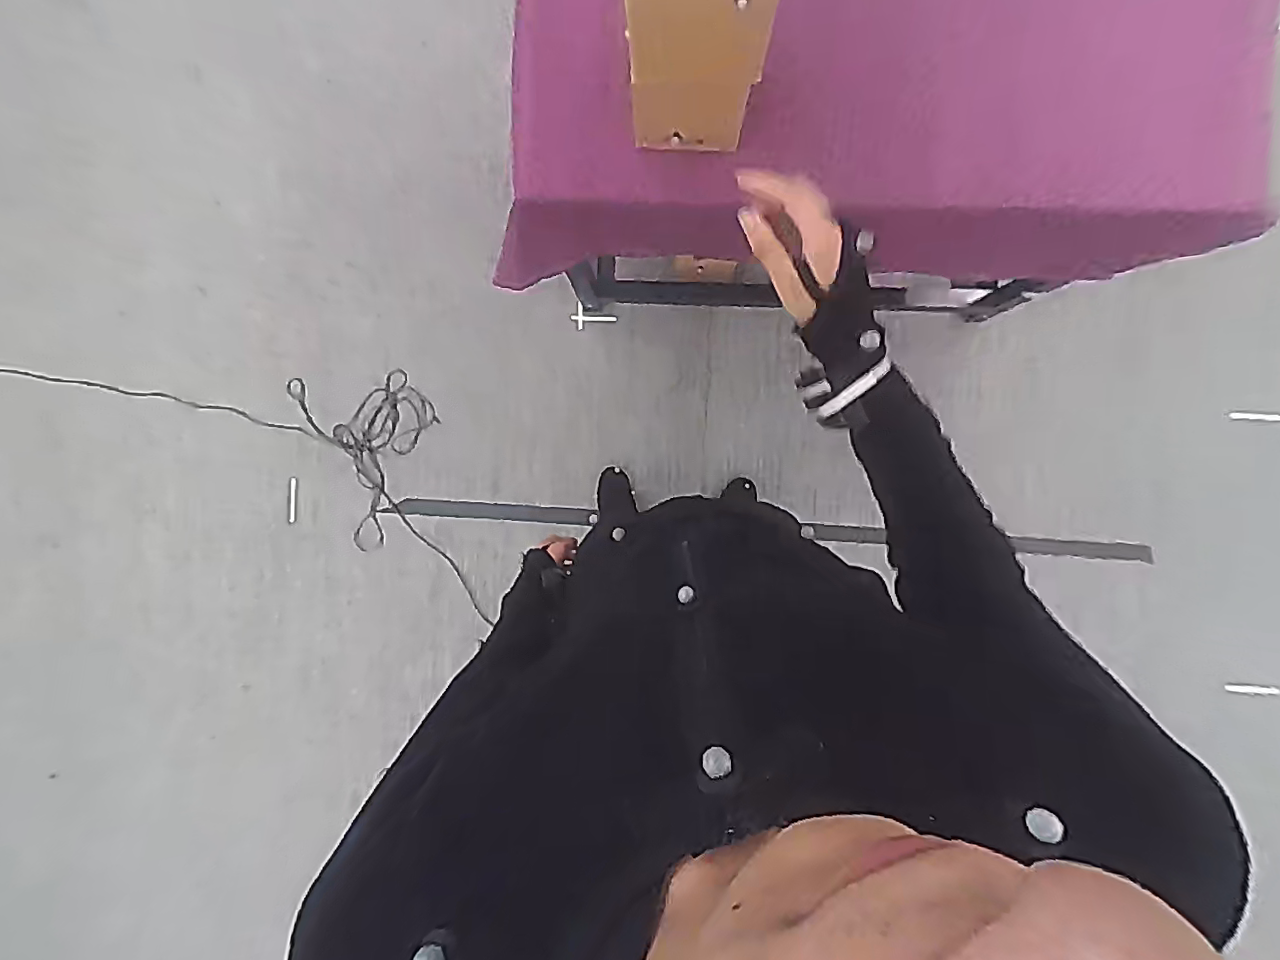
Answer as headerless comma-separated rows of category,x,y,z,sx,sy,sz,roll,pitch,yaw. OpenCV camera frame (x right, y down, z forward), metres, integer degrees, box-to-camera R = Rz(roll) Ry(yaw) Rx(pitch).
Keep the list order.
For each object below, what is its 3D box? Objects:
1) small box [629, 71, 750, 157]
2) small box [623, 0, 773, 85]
small box,0.075,-0.617,0.802,0.168,0.176,0.179,3,92,3
small box,0.070,-0.607,0.640,0.179,0.176,0.168,4,92,3
